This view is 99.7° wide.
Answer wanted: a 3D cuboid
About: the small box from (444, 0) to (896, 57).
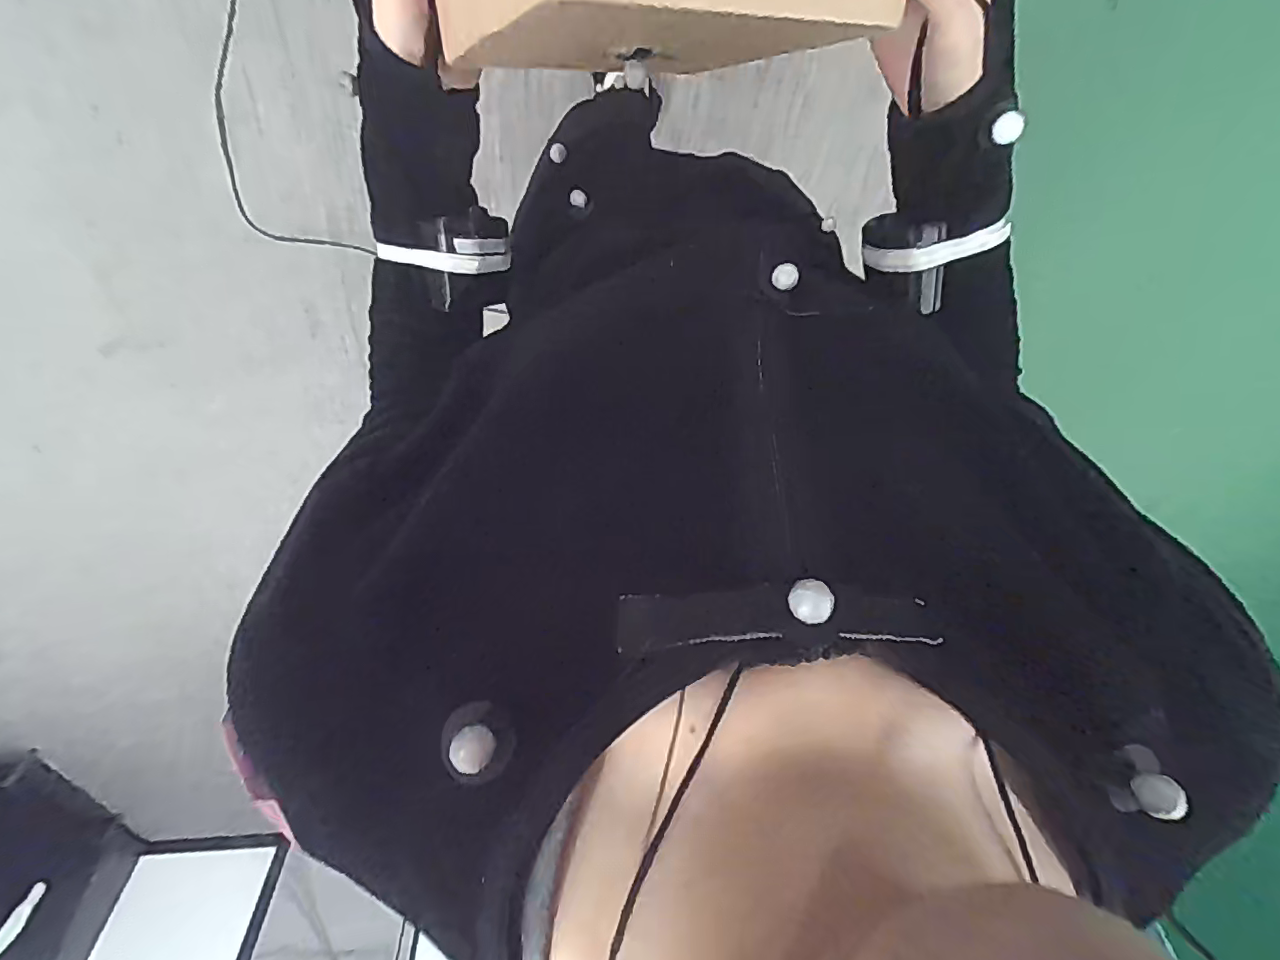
[{"bbox_3d":[0.000,-0.290,0.217,0.168,0.176,0.179,-17,125,-24],"label":"small box"}]
